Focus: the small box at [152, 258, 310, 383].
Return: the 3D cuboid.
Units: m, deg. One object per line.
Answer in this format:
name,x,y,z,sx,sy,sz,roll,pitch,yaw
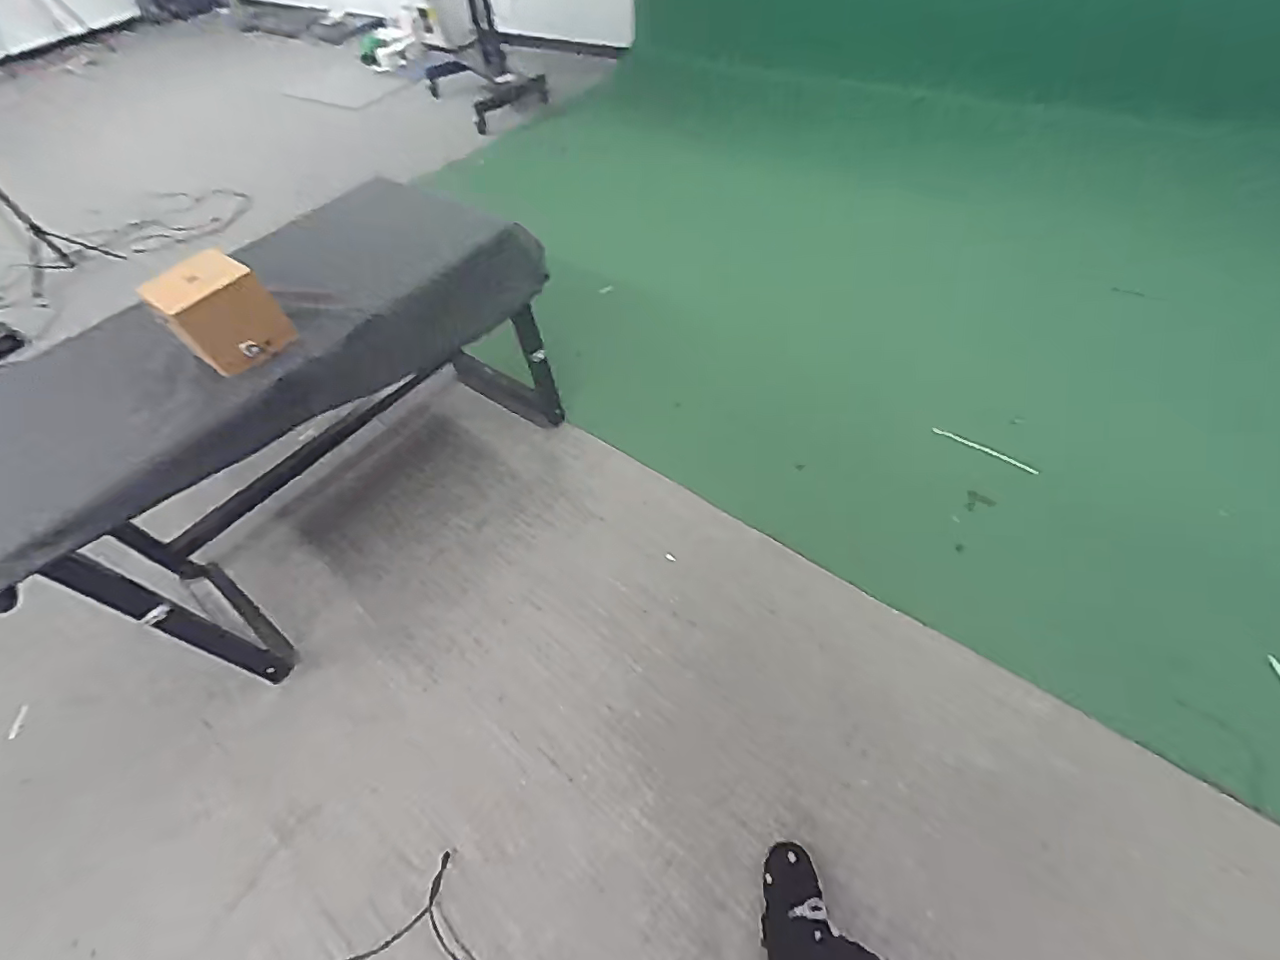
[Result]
small box,-0.848,-0.332,1.136,0.179,0.176,0.168,28,63,25
